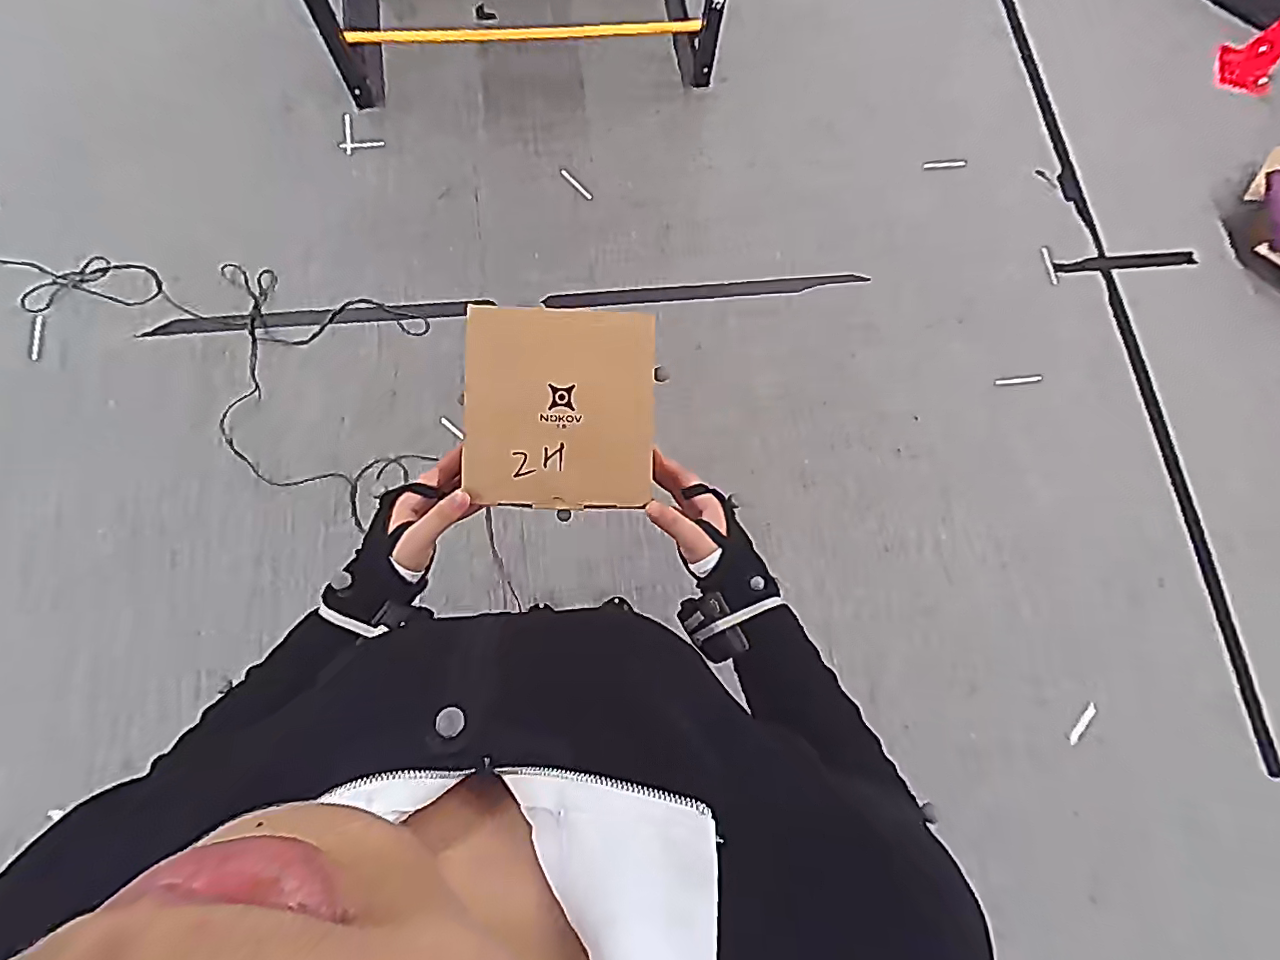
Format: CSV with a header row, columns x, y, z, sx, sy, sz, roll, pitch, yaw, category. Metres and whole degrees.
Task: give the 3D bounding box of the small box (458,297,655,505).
x,y,z,sx,sy,sz,roll,pitch,yaw,category
-0.077,-0.065,0.549,0.168,0.176,0.179,2,87,-4,small box
